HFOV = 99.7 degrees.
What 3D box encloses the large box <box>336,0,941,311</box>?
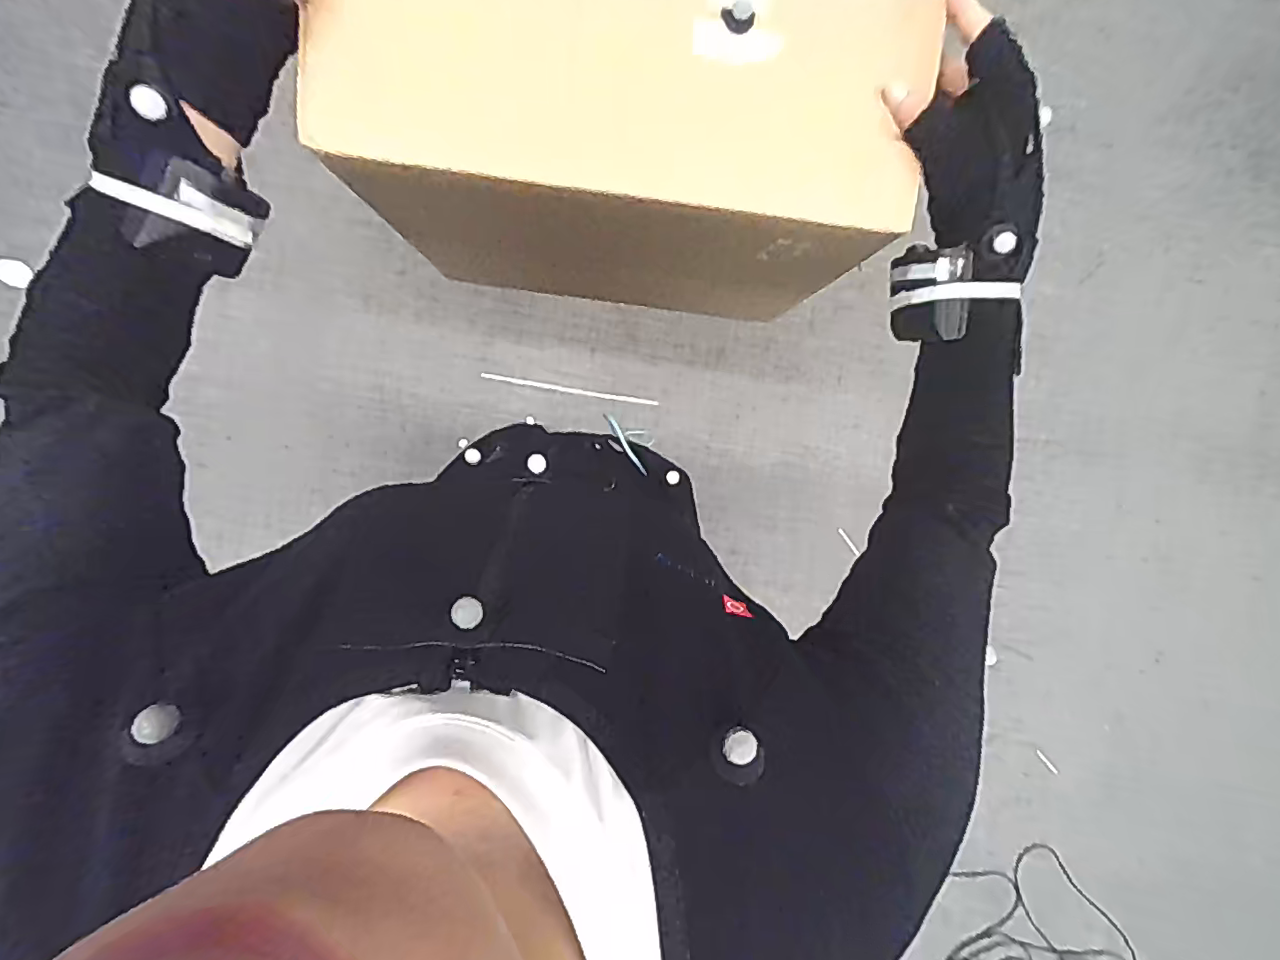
[{"bbox_3d":[-0.002,-0.364,0.502,0.408,0.320,0.320,6,96,-5],"label":"large box"}]
